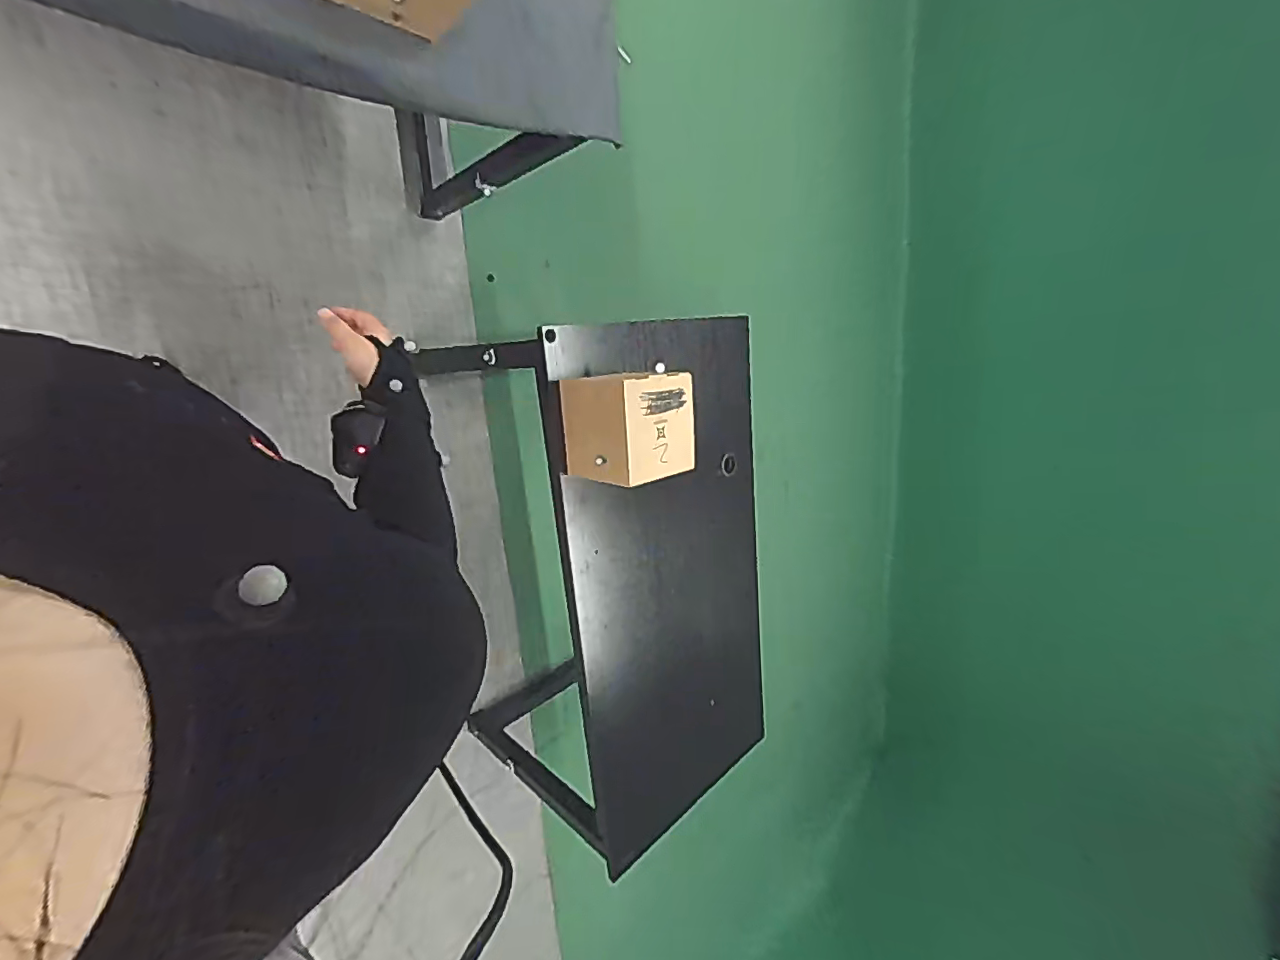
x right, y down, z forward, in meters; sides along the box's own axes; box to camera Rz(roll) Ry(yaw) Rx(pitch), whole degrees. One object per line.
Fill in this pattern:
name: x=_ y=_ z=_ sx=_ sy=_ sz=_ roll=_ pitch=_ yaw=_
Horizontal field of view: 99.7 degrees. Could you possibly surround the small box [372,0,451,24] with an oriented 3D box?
small box: x=-0.286 y=-0.666 z=0.602 sx=0.168 sy=0.176 sz=0.179 roll=-12 pitch=105 yaw=-42
